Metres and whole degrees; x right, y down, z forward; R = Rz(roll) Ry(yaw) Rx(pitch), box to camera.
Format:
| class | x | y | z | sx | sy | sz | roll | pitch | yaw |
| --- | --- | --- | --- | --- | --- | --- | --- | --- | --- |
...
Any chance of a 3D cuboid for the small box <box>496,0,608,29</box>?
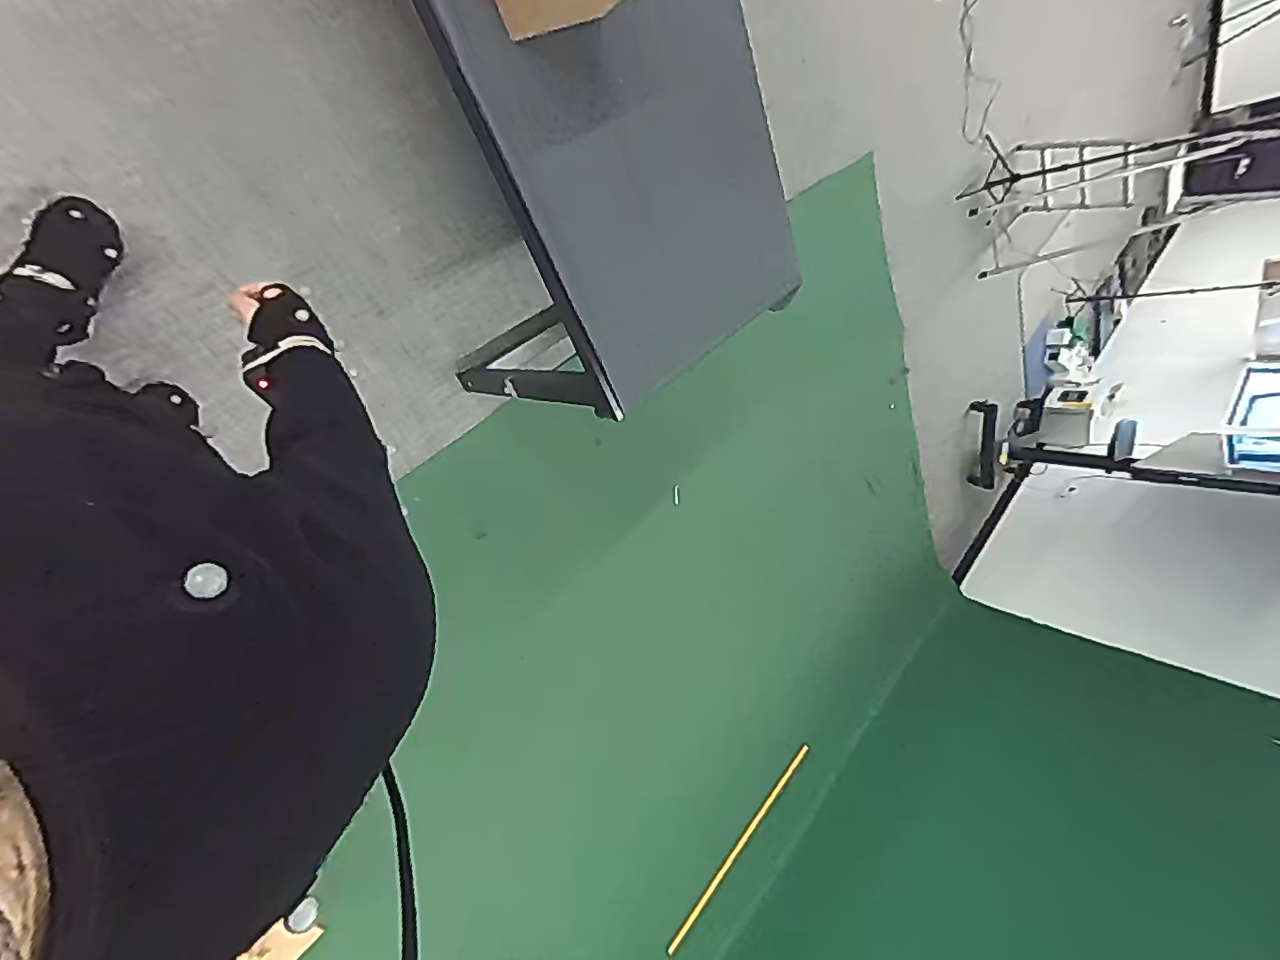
| class | x | y | z | sx | sy | sz | roll | pitch | yaw |
| --- | --- | --- | --- | --- | --- | --- | --- | --- | --- |
| small box | -0.094 | -0.705 | 0.671 | 0.179 | 0.176 | 0.168 | -40 | 123 | -27 |
